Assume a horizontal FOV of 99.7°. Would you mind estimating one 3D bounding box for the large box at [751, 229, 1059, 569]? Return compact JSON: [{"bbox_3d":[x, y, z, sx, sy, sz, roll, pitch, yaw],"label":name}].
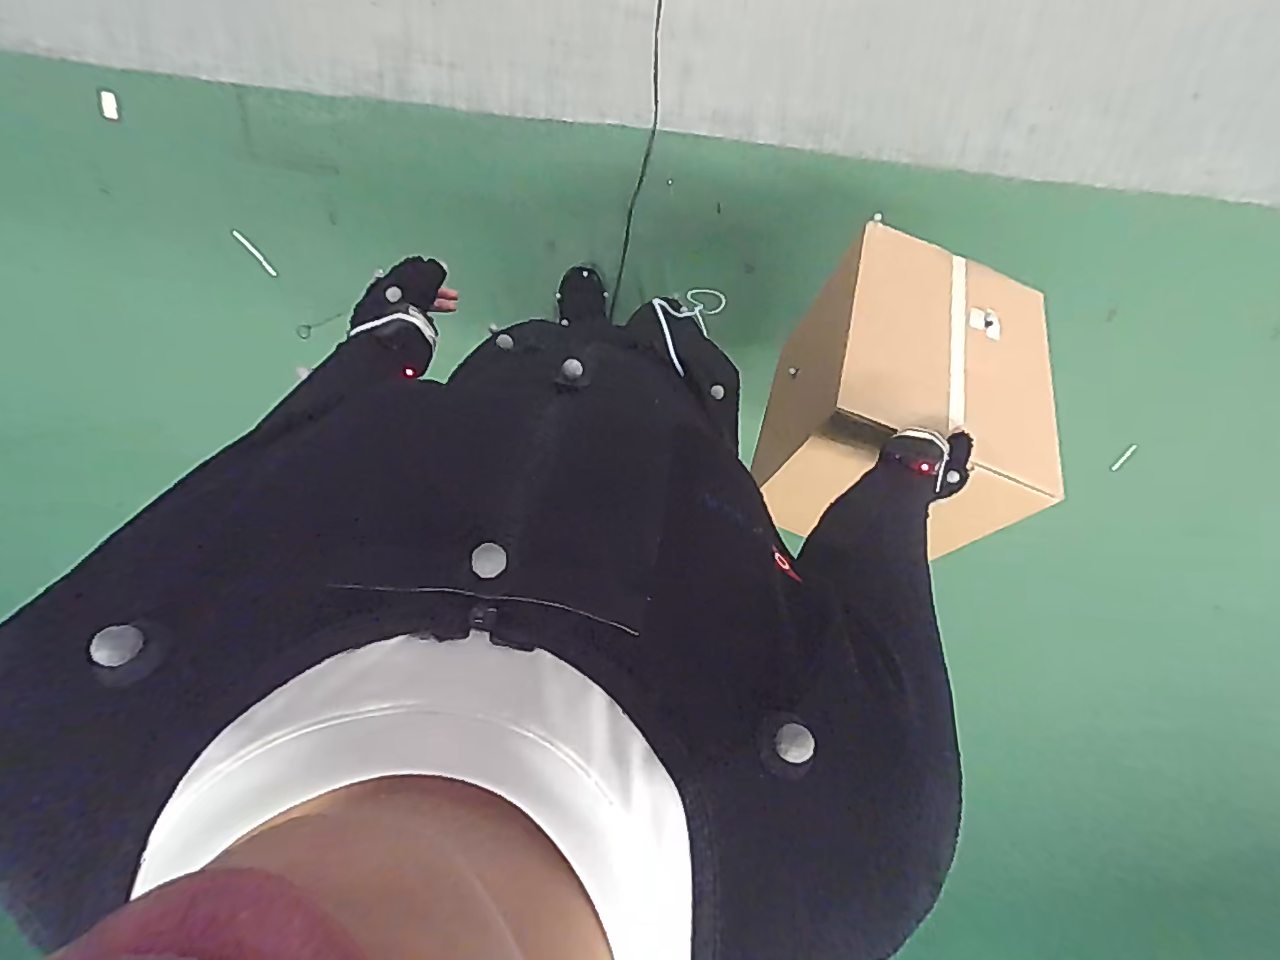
[{"bbox_3d":[0.413,-0.120,0.903,0.320,0.408,0.320,22,150,-3],"label":"large box"}]
